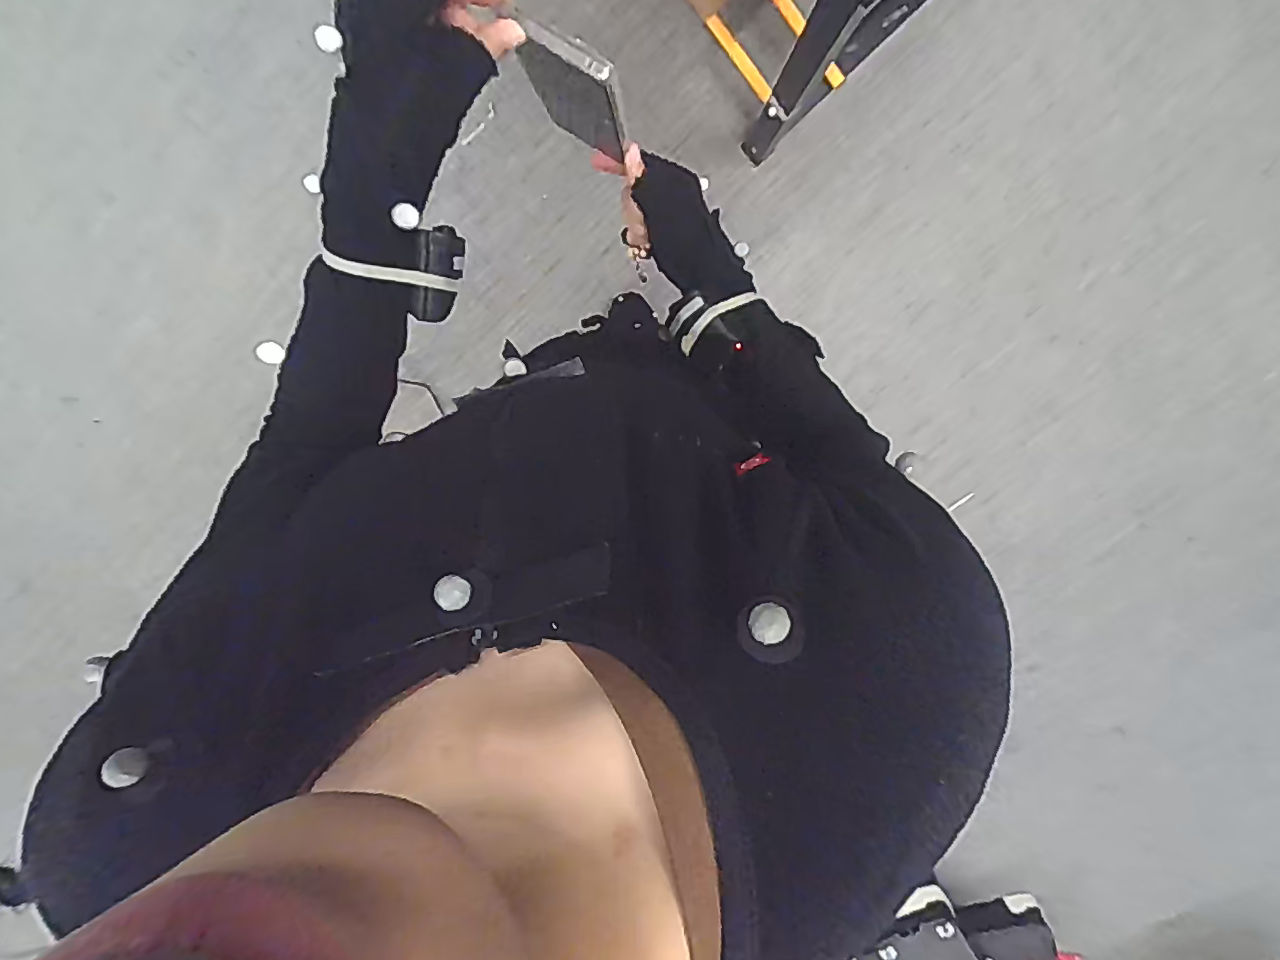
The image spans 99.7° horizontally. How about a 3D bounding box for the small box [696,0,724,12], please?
[{"bbox_3d":[0.147,-1.025,0.986,0.179,0.176,0.168,-37,102,12],"label":"small box"}]
